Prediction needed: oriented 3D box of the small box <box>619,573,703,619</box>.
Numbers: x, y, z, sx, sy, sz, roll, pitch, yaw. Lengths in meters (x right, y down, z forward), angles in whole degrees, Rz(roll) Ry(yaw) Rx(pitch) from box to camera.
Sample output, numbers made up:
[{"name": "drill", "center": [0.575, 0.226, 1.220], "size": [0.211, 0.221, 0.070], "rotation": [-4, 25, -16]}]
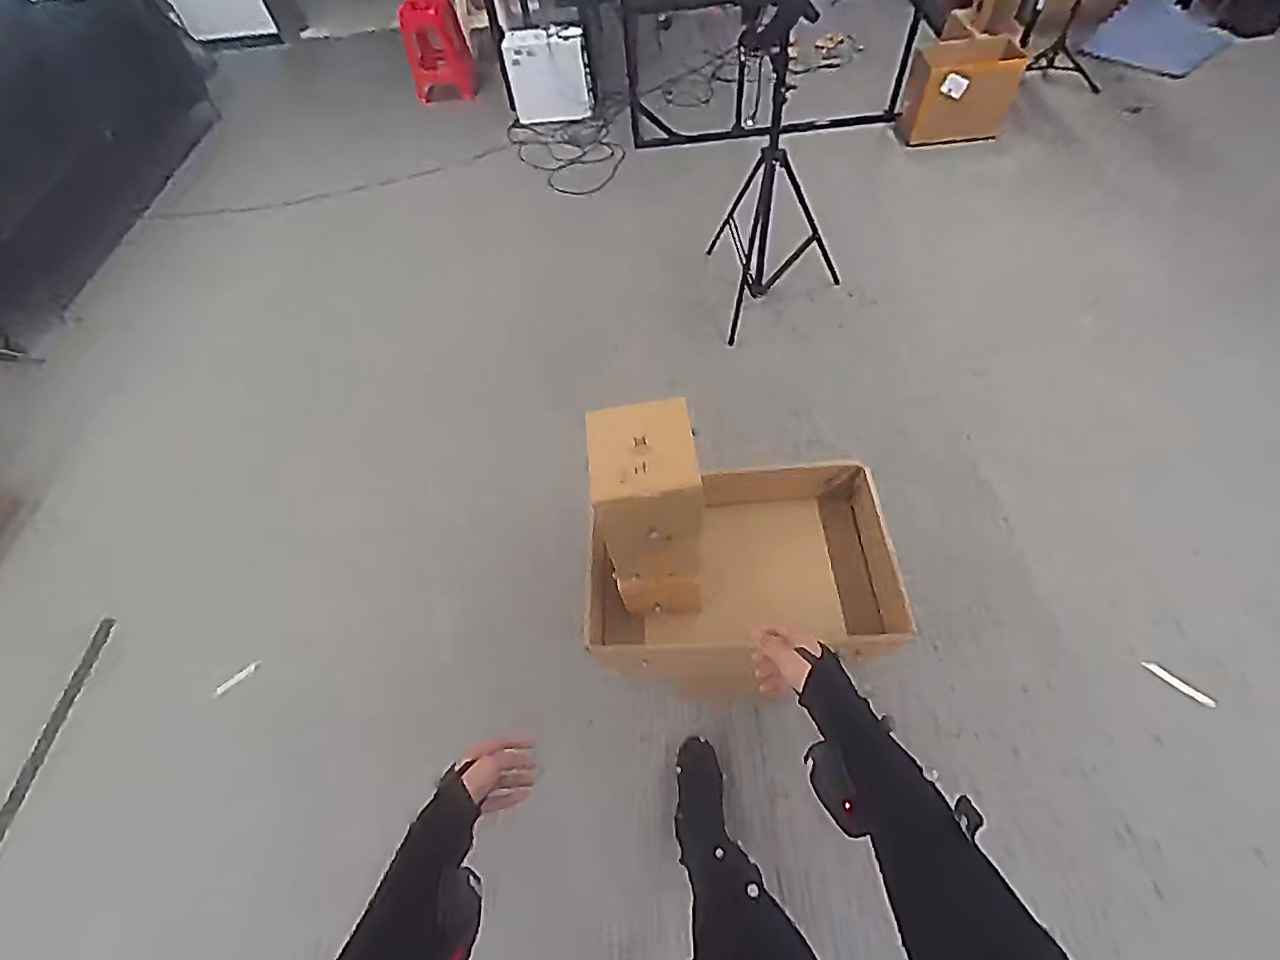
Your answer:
[{"name": "small box", "center": [0.046, 0.184, 1.163], "size": [0.168, 0.176, 0.179], "rotation": [-6, 57, 5]}]

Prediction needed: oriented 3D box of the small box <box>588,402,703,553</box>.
[{"name": "small box", "center": [0.011, 0.000, 0.893], "size": [0.168, 0.176, 0.179], "rotation": [-9, 57, 3]}]

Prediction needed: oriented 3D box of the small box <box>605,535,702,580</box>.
[{"name": "small box", "center": [0.029, 0.083, 1.033], "size": [0.168, 0.176, 0.179], "rotation": [-5, 56, 5]}]
